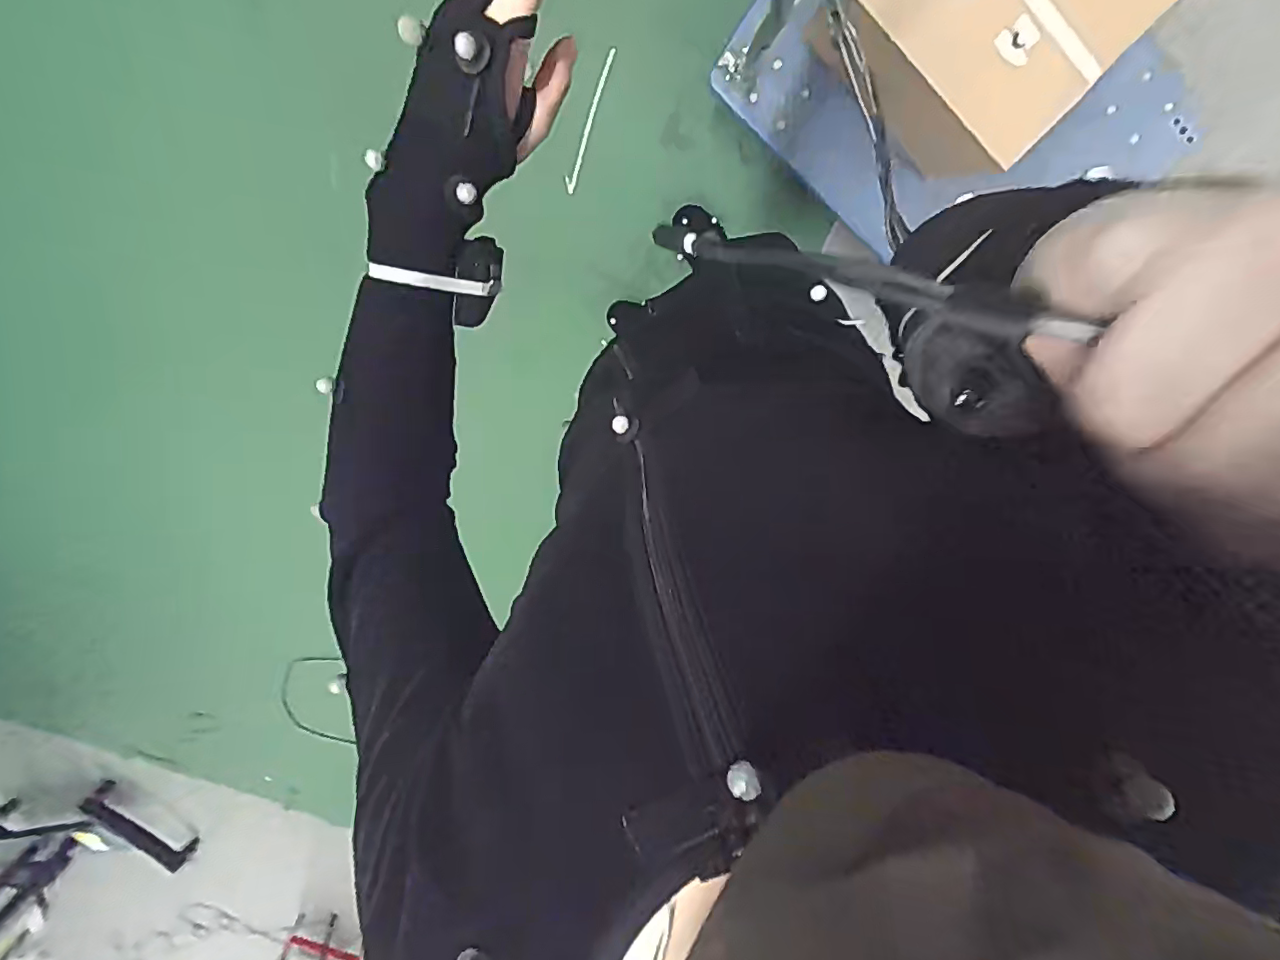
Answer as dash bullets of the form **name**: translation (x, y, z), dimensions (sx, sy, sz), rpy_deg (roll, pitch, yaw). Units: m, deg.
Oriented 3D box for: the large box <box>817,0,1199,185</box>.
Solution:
- **large box**: translation (0.584, -0.789, 0.933), dimensions (0.408, 0.320, 0.320), rpy_deg (40, 113, -15)
